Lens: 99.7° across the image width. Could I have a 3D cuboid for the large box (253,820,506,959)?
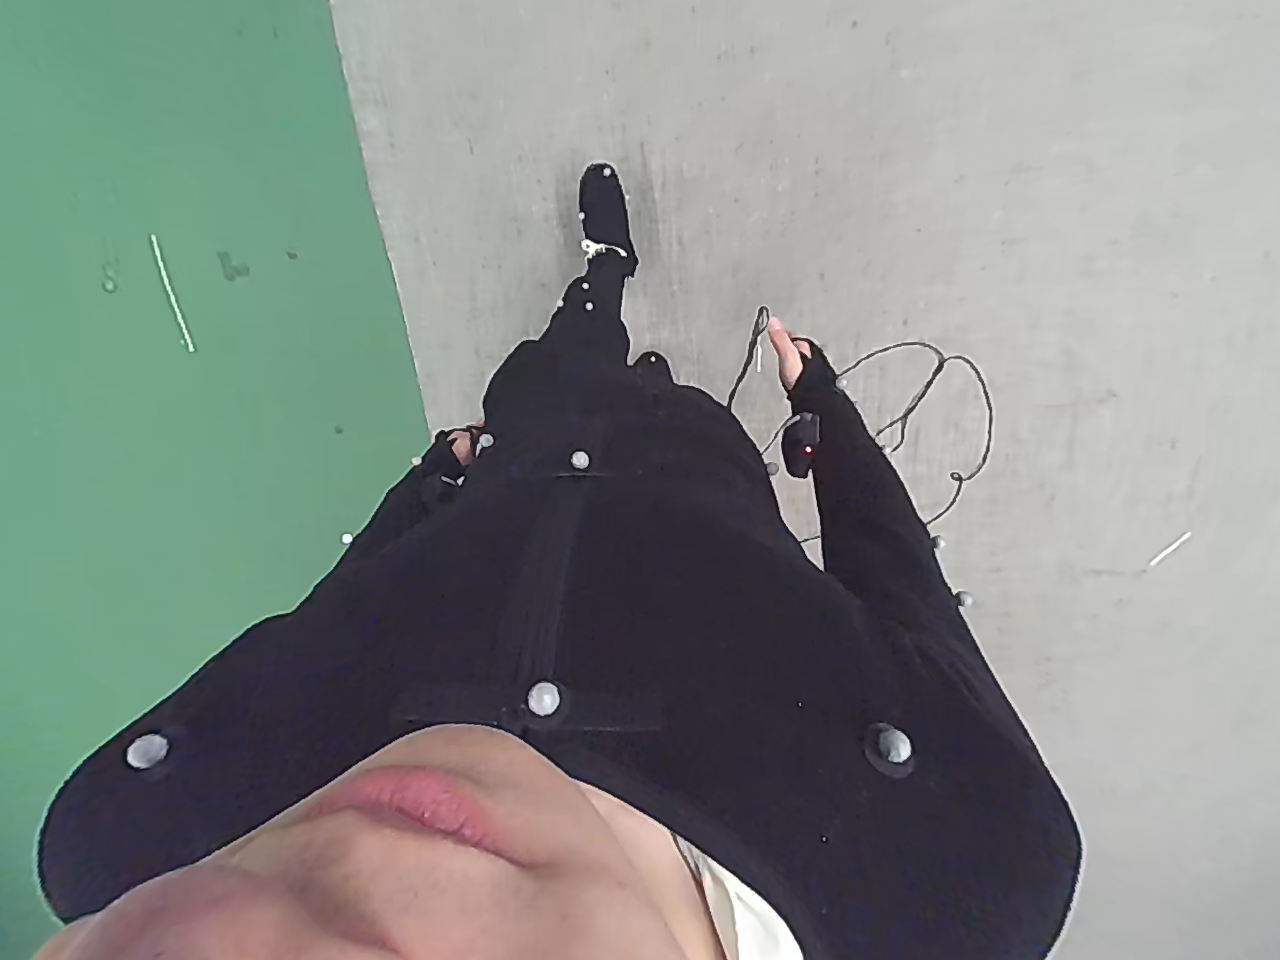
[{"bbox_3d":[-0.484,0.959,1.060,0.320,0.320,0.408,-5,108,2],"label":"large box"}]
